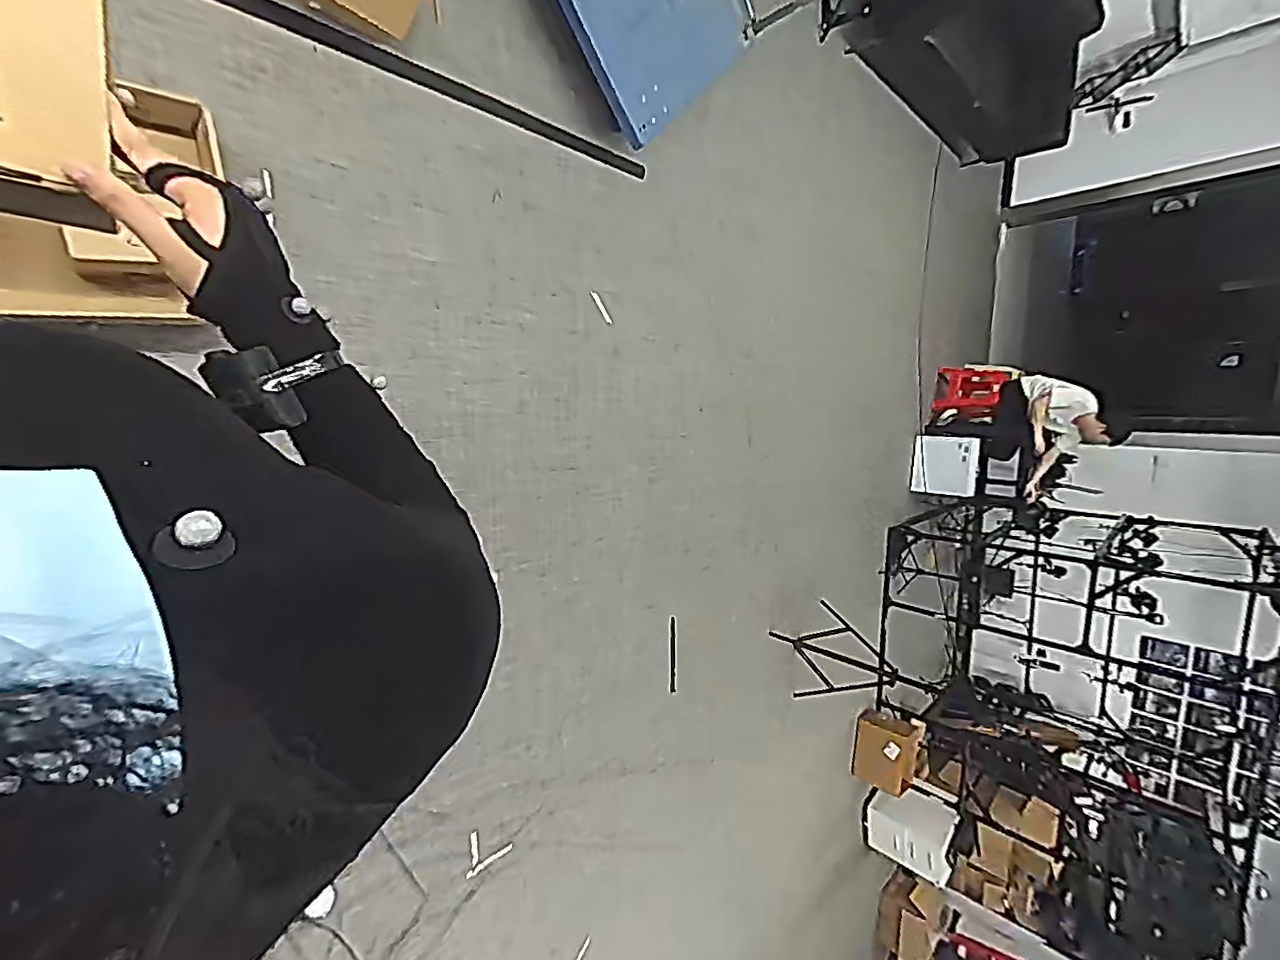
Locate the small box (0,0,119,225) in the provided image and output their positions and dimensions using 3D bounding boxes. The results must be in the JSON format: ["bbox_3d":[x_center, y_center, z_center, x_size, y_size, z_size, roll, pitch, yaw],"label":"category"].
[{"bbox_3d":[-0.438,-0.276,0.332,0.168,0.176,0.179,-3,102,-43],"label":"small box"}]
